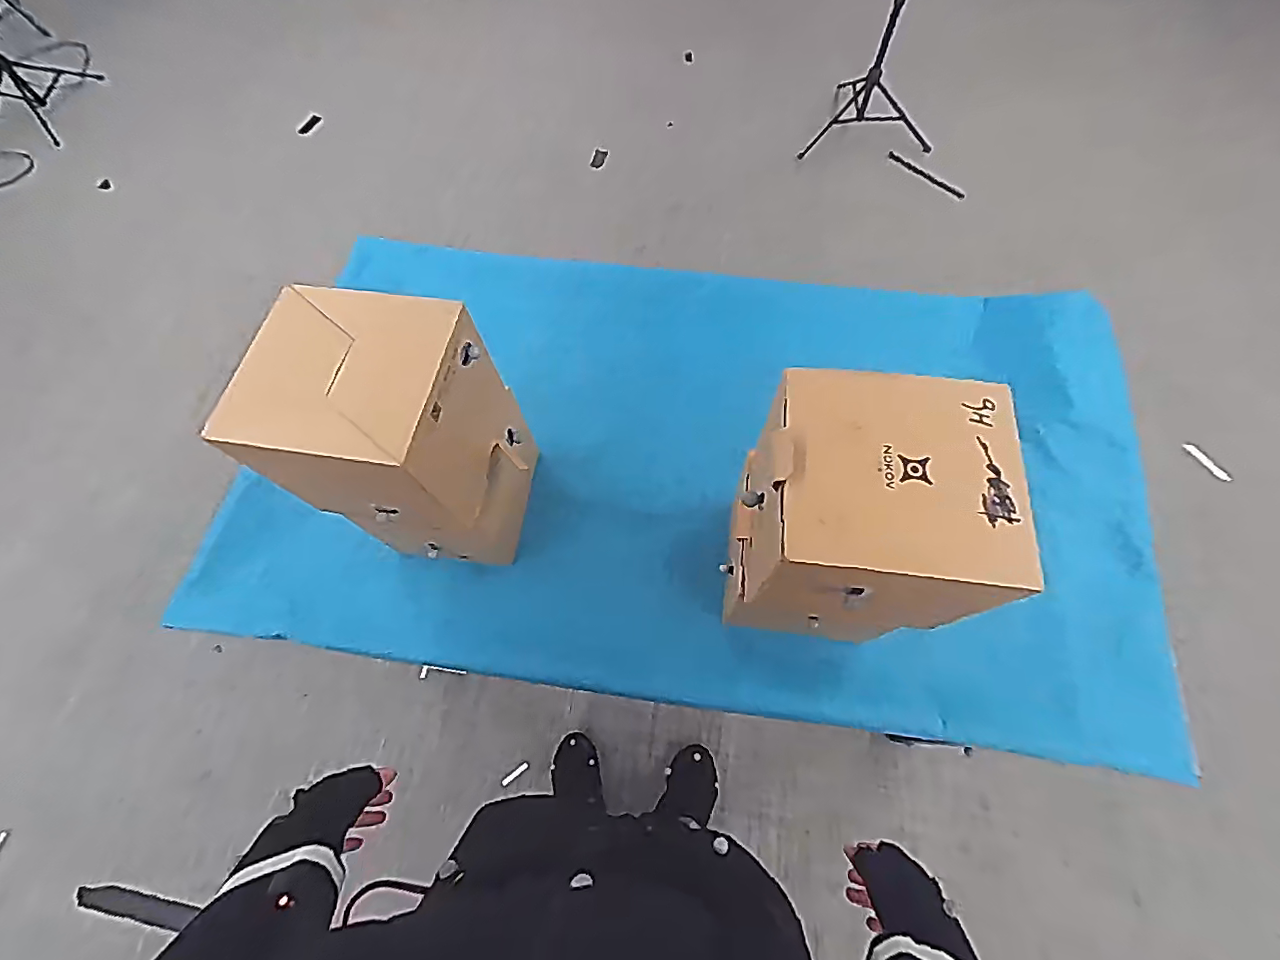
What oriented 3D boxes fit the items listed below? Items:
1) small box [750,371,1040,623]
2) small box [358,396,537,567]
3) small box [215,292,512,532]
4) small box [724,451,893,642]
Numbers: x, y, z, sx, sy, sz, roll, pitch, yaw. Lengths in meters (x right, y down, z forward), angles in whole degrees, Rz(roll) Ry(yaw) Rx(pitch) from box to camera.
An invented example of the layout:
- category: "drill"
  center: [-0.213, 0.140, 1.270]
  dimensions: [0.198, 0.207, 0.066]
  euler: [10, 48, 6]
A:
- category: "small box"
  center: [0.192, 0.024, 0.471]
  dimensions: [0.179, 0.176, 0.168]
  euler: [4, 66, 4]
- category: "small box"
  center: [-0.242, -0.004, 0.688]
  dimensions: [0.168, 0.176, 0.179]
  euler: [9, 69, 9]
- category: "small box"
  center: [-0.250, -0.060, 0.531]
  dimensions: [0.179, 0.176, 0.168]
  euler: [8, 67, 6]
- category: "small box"
  center: [0.195, 0.083, 0.622]
  dimensions: [0.179, 0.176, 0.168]
  euler: [7, 67, 7]
